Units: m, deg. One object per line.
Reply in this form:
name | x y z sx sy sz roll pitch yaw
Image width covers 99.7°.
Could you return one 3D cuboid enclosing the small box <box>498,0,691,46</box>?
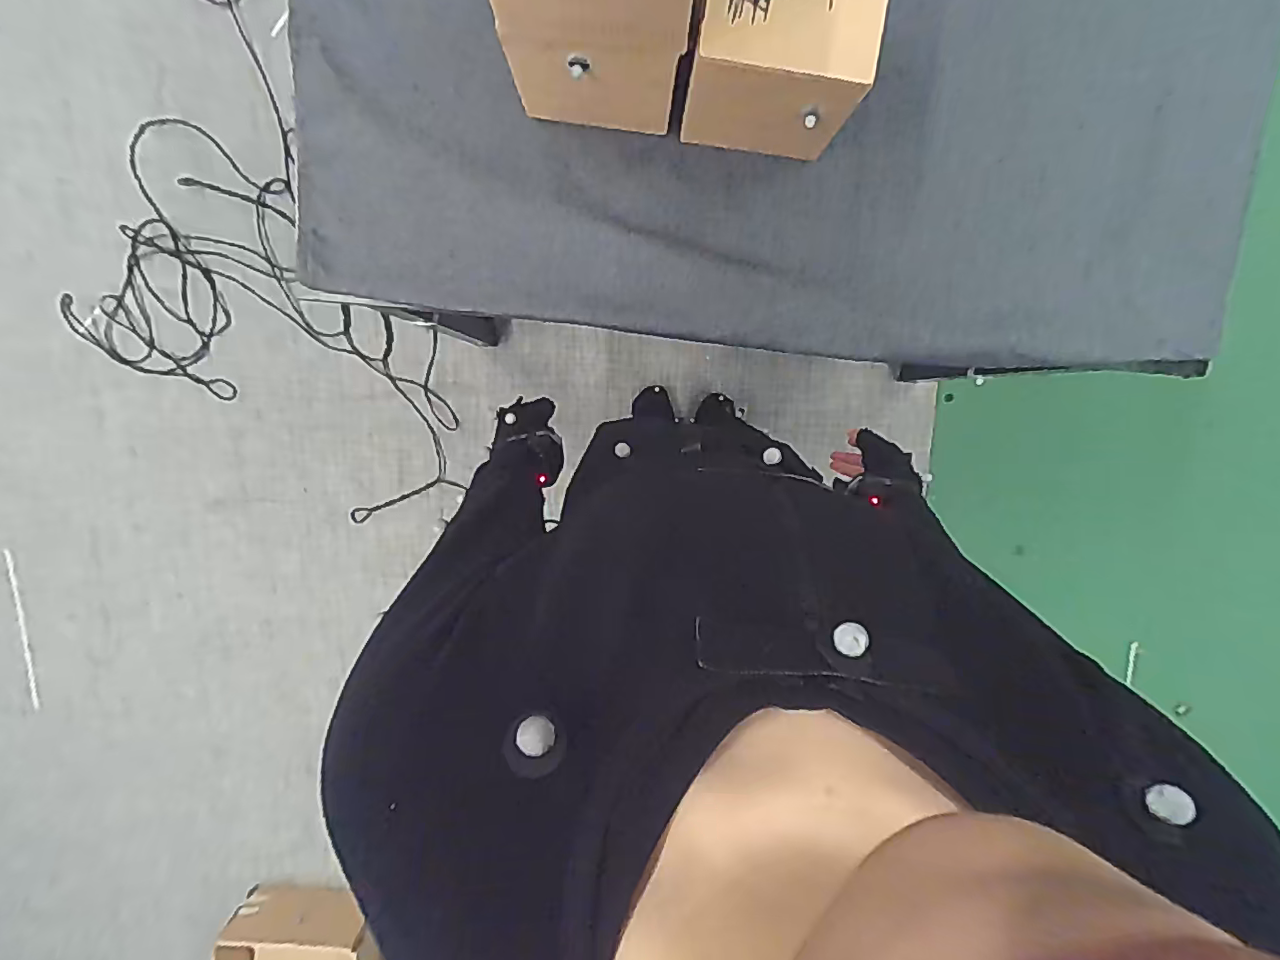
small box | -0.032 -0.485 0.421 0.179 0.176 0.168 5 97 -2
